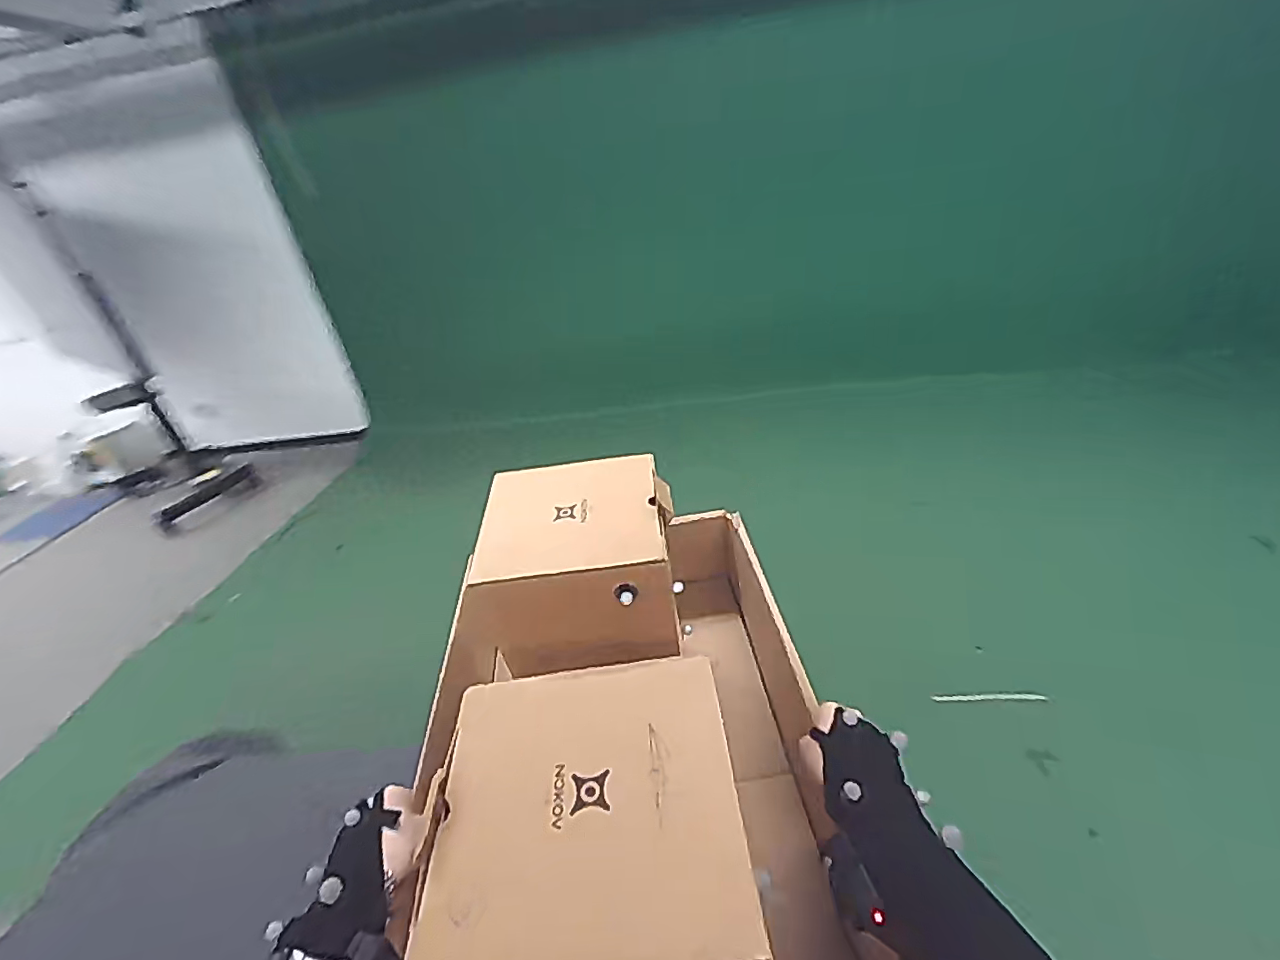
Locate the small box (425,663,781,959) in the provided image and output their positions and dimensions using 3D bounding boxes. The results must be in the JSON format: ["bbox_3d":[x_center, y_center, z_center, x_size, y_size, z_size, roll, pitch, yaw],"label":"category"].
[{"bbox_3d":[-0.012,0.250,0.360,0.179,0.176,0.168,-8,36,2],"label":"small box"}]
